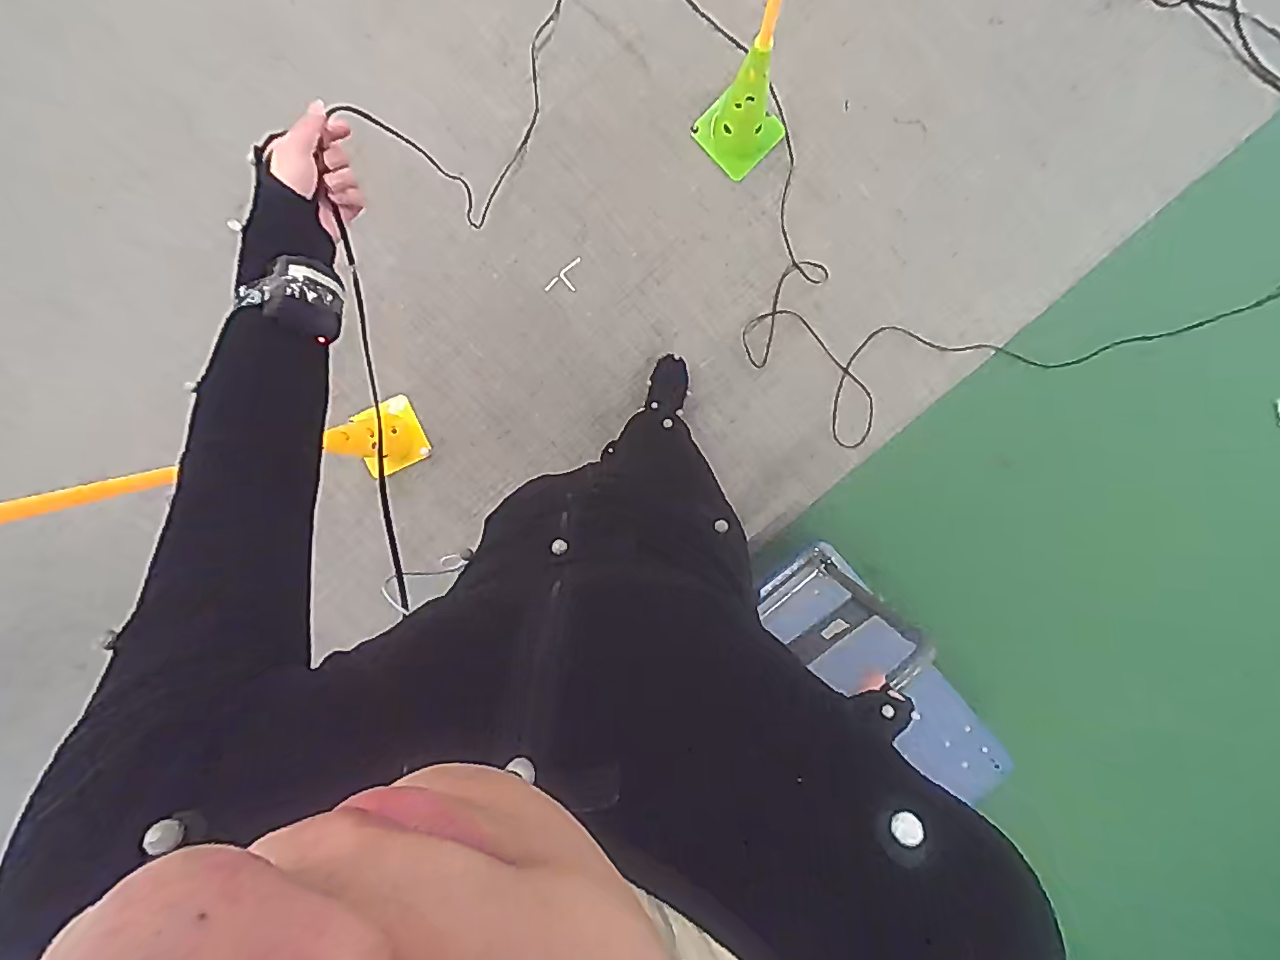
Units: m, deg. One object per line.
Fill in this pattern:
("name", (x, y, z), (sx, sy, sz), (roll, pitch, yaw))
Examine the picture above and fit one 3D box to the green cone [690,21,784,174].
("green cone", (0.266, -0.958, 1.315), (0.200, 0.368, 0.202), (45, 94, -4))
